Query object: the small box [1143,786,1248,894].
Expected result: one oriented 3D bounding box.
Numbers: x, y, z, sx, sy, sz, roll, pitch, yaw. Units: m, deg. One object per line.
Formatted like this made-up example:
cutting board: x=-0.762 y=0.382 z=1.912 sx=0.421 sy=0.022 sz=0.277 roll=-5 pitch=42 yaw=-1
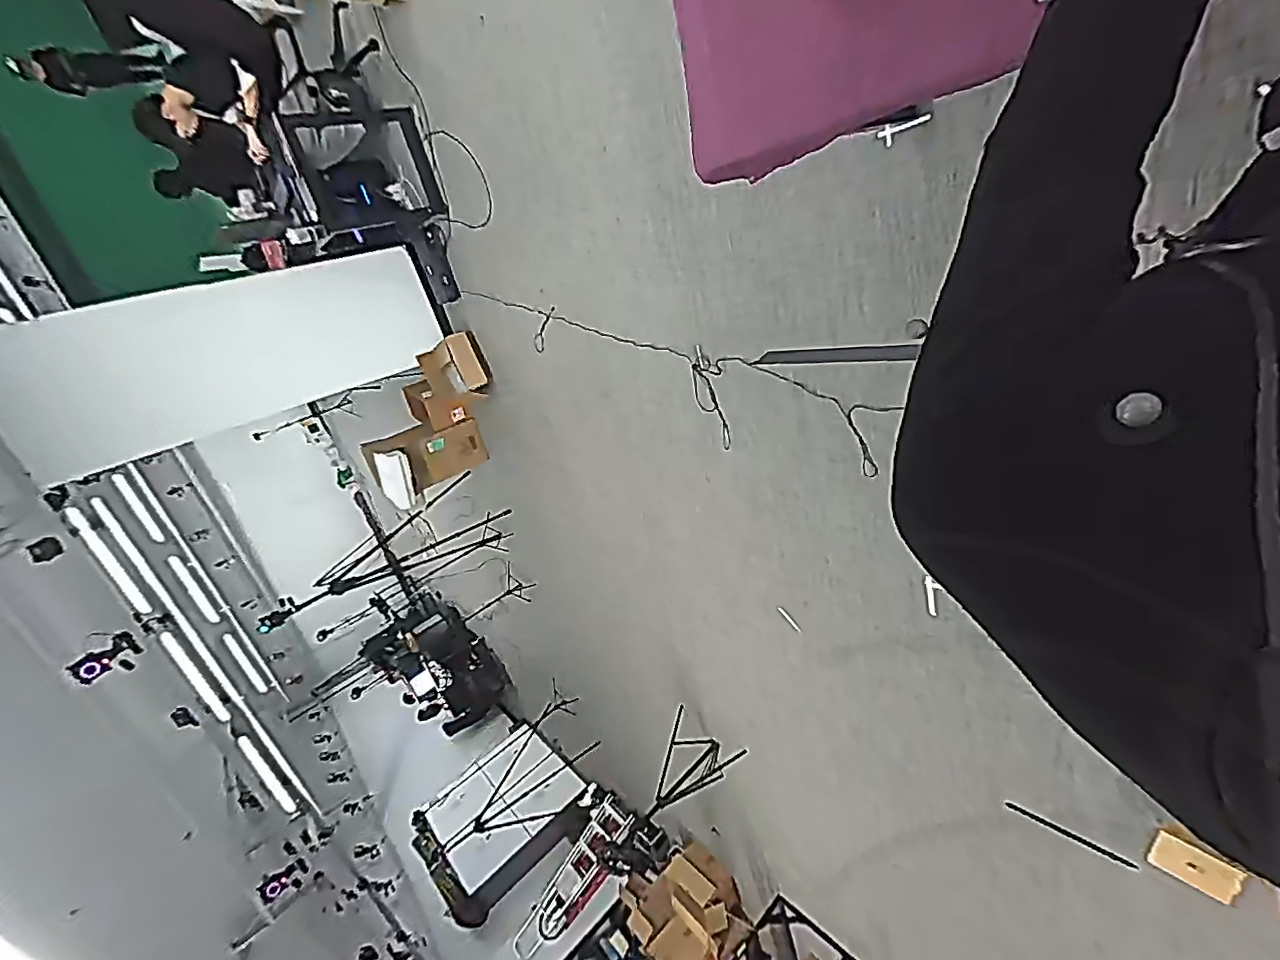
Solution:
small box: x=1.631 y=1.043 z=1.589 sx=0.179 sy=0.176 sz=0.168 roll=19 pitch=131 yaw=44
